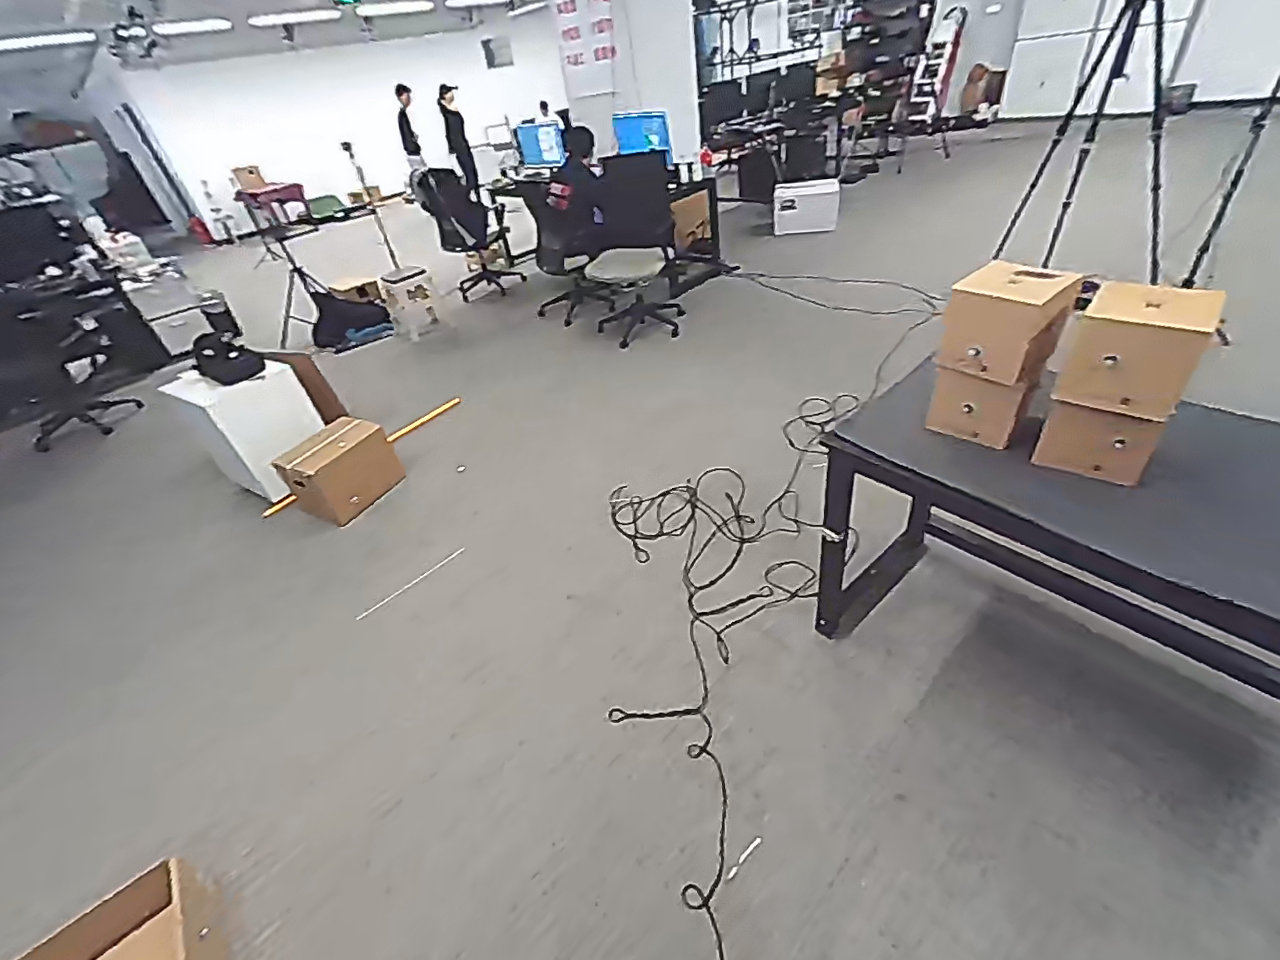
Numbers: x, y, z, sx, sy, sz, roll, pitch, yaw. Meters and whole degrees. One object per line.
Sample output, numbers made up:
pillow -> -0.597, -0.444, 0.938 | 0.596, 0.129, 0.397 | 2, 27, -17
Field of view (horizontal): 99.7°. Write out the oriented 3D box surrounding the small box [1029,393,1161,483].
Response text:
small box -> 0.903, -0.120, 1.072 | 0.168, 0.176, 0.179 | 22, 47, 34

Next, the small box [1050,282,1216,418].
small box -> 0.862, -0.231, 0.958 | 0.168, 0.176, 0.179 | 24, 49, 35
